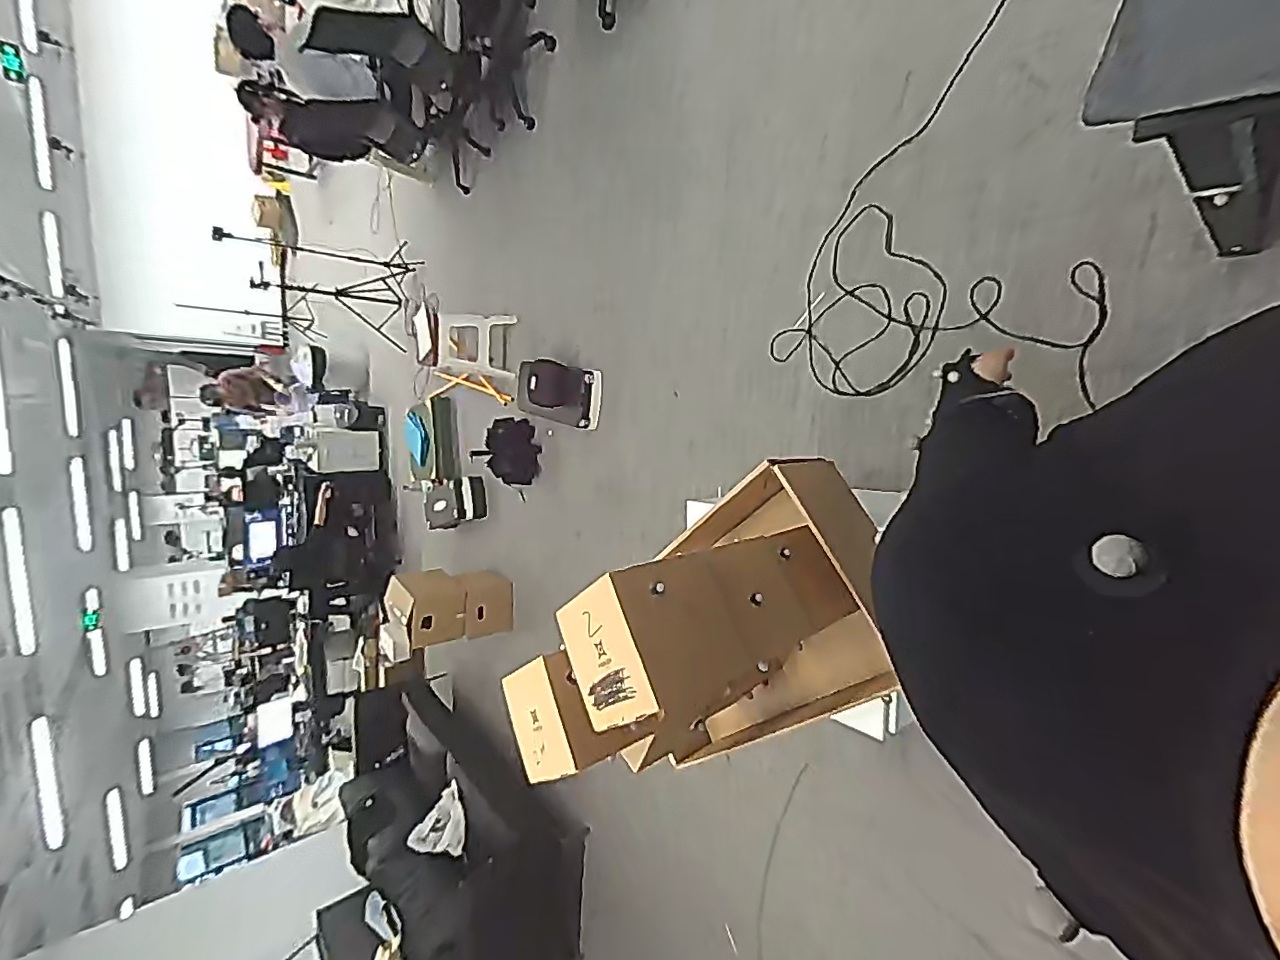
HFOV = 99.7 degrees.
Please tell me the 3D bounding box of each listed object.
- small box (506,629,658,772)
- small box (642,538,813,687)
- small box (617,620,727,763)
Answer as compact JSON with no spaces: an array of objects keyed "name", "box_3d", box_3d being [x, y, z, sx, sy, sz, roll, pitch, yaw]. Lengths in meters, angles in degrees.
[{"name":"small box","box_3d":[-0.099,0.369,0.924,0.168,0.176,0.179,-41,65,44]},{"name":"small box","box_3d":[0.139,0.206,0.875,0.168,0.176,0.179,-47,61,44]},{"name":"small box","box_3d":[0.031,0.385,1.028,0.179,0.176,0.168,40,123,37]}]
